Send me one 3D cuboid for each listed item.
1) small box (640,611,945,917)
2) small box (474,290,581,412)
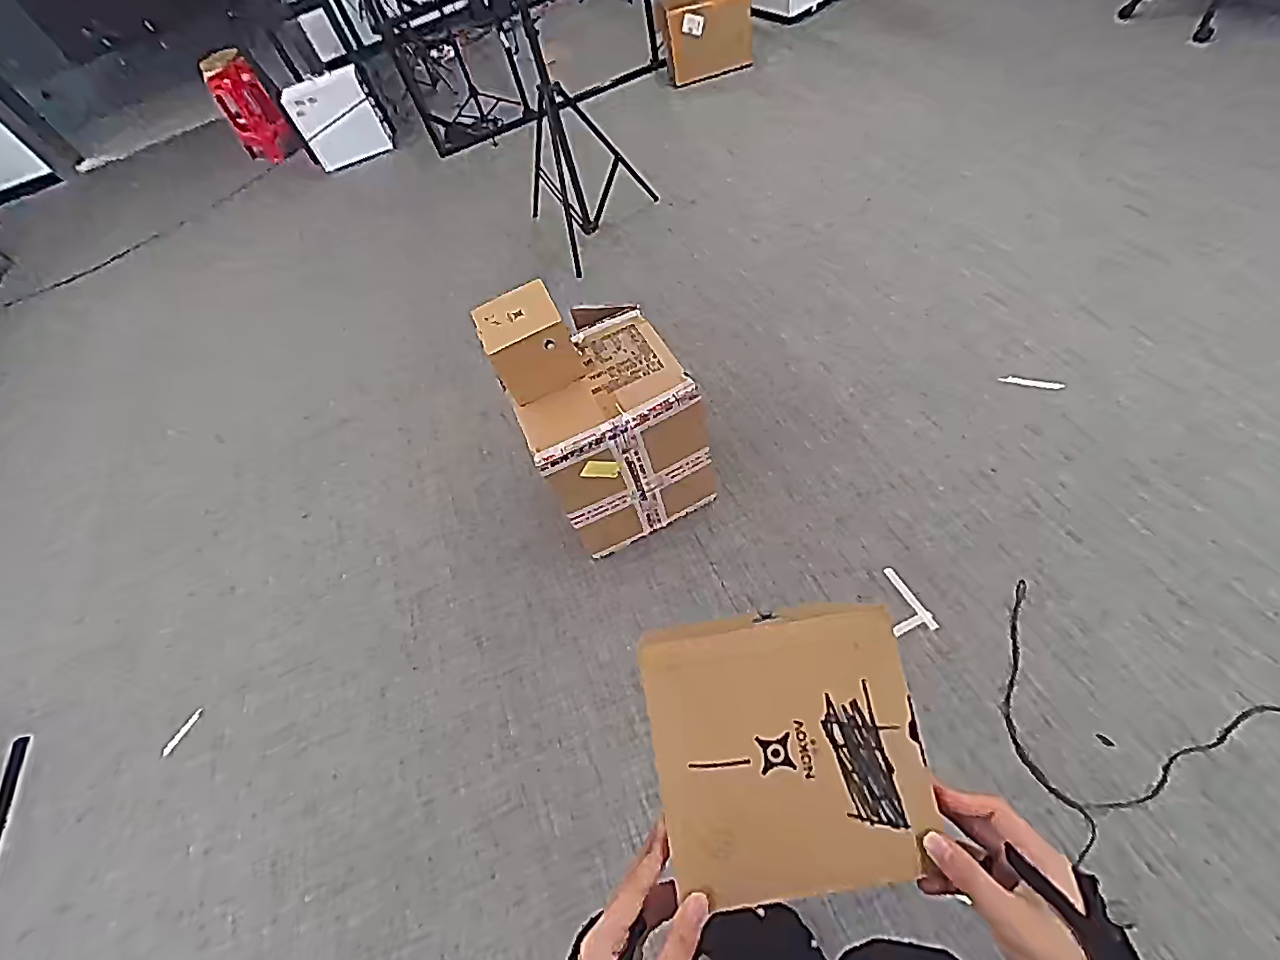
[{"bbox_3d":[0.099,0.201,0.436,0.179,0.176,0.168,-10,76,0],"label":"small box"},{"bbox_3d":[-0.247,-0.289,1.229,0.179,0.176,0.168,-26,55,-1],"label":"small box"}]
